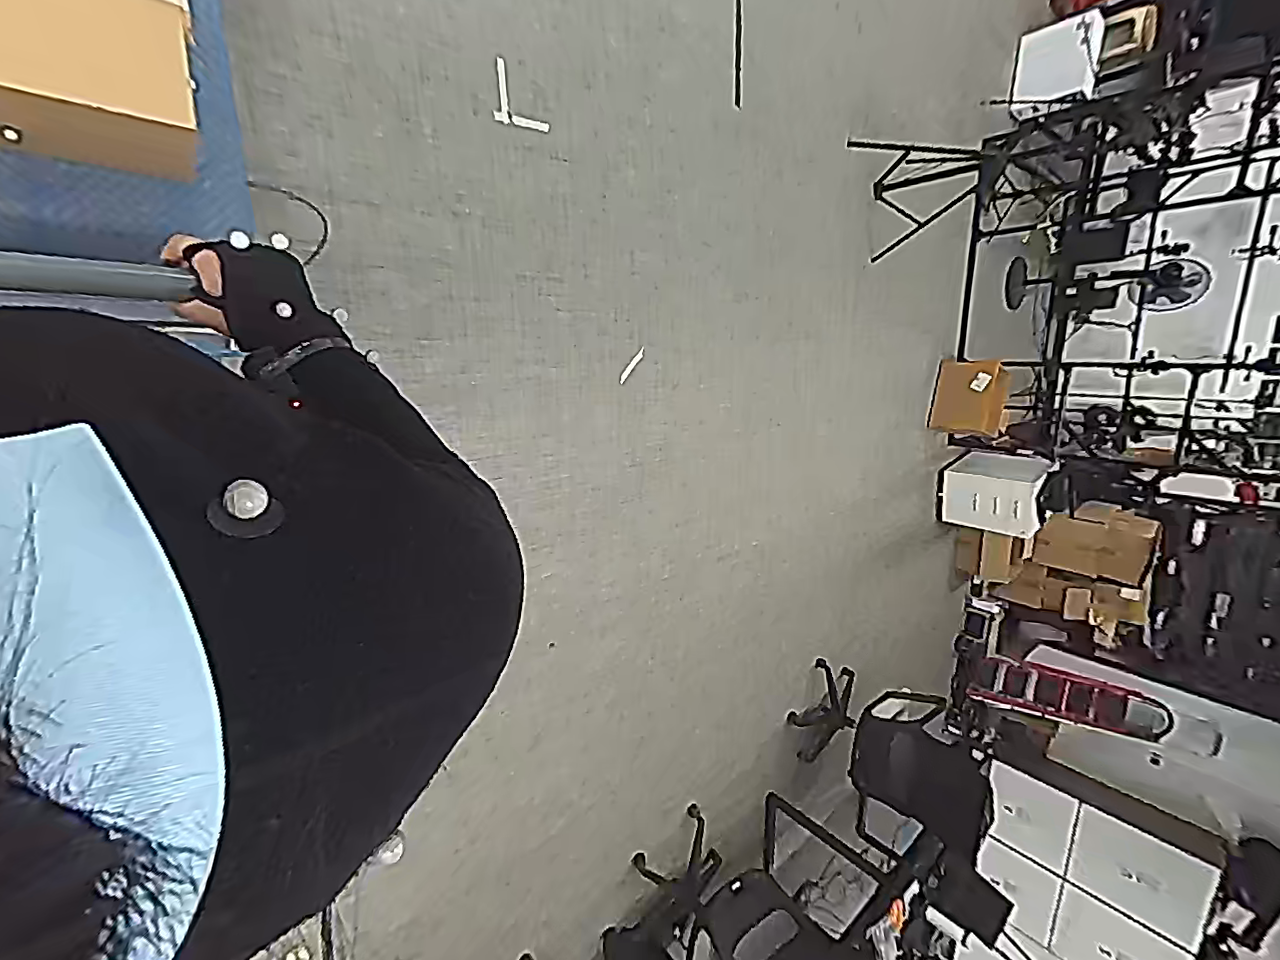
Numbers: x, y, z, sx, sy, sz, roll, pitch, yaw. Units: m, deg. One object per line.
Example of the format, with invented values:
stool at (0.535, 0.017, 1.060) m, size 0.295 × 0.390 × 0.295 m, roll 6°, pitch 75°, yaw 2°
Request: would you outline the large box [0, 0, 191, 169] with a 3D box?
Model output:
large box at (-0.878, -0.653, 0.714) m, size 0.408 × 0.320 × 0.320 m, roll -9°, pitch 105°, yaw -39°
